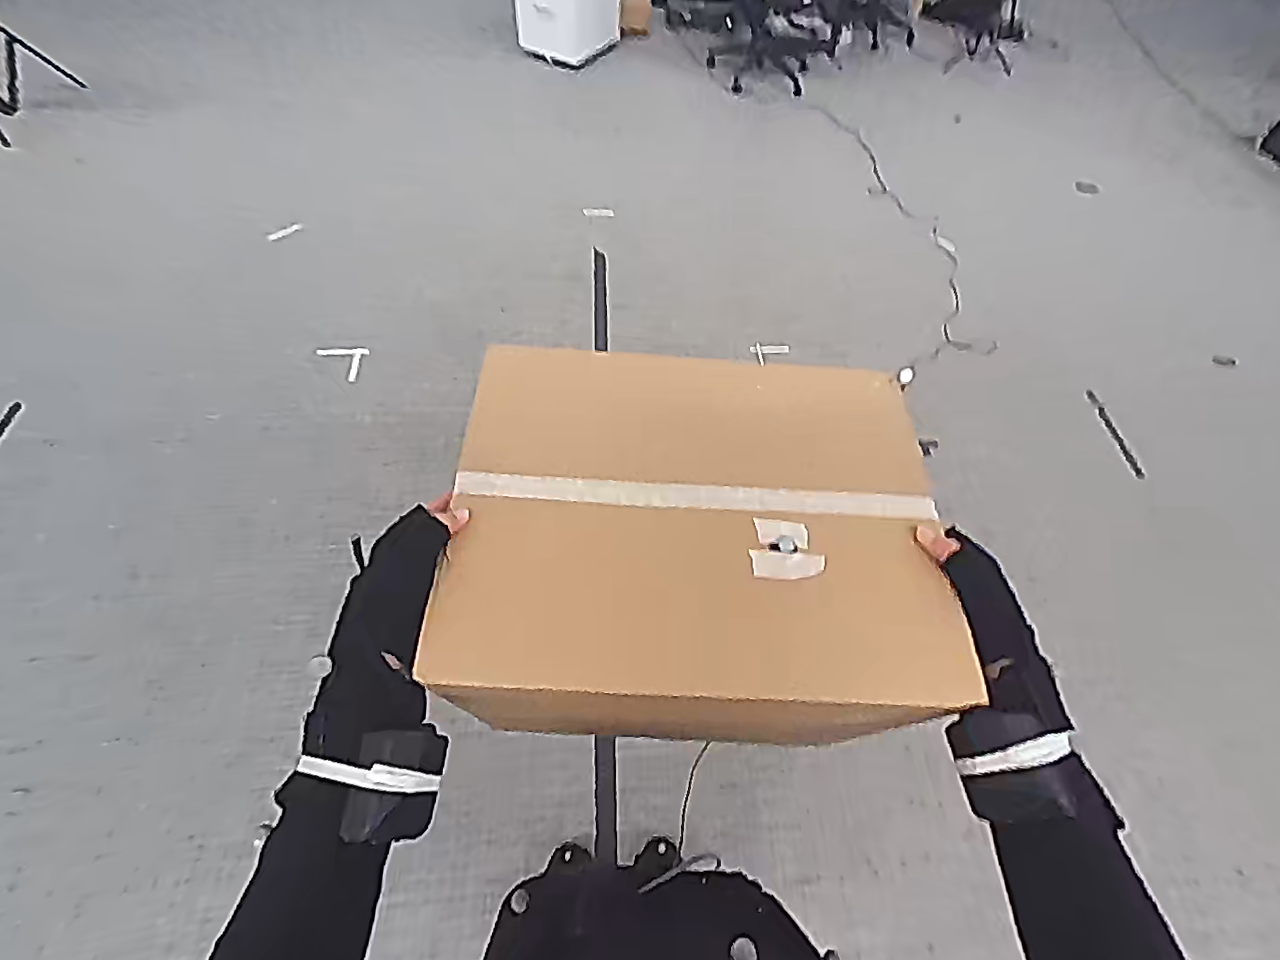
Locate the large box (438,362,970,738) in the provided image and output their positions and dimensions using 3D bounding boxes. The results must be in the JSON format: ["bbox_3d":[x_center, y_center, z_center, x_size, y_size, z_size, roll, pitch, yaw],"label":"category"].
[{"bbox_3d":[0.042,0.098,0.596,0.408,0.320,0.320,3,60,-3],"label":"large box"}]
